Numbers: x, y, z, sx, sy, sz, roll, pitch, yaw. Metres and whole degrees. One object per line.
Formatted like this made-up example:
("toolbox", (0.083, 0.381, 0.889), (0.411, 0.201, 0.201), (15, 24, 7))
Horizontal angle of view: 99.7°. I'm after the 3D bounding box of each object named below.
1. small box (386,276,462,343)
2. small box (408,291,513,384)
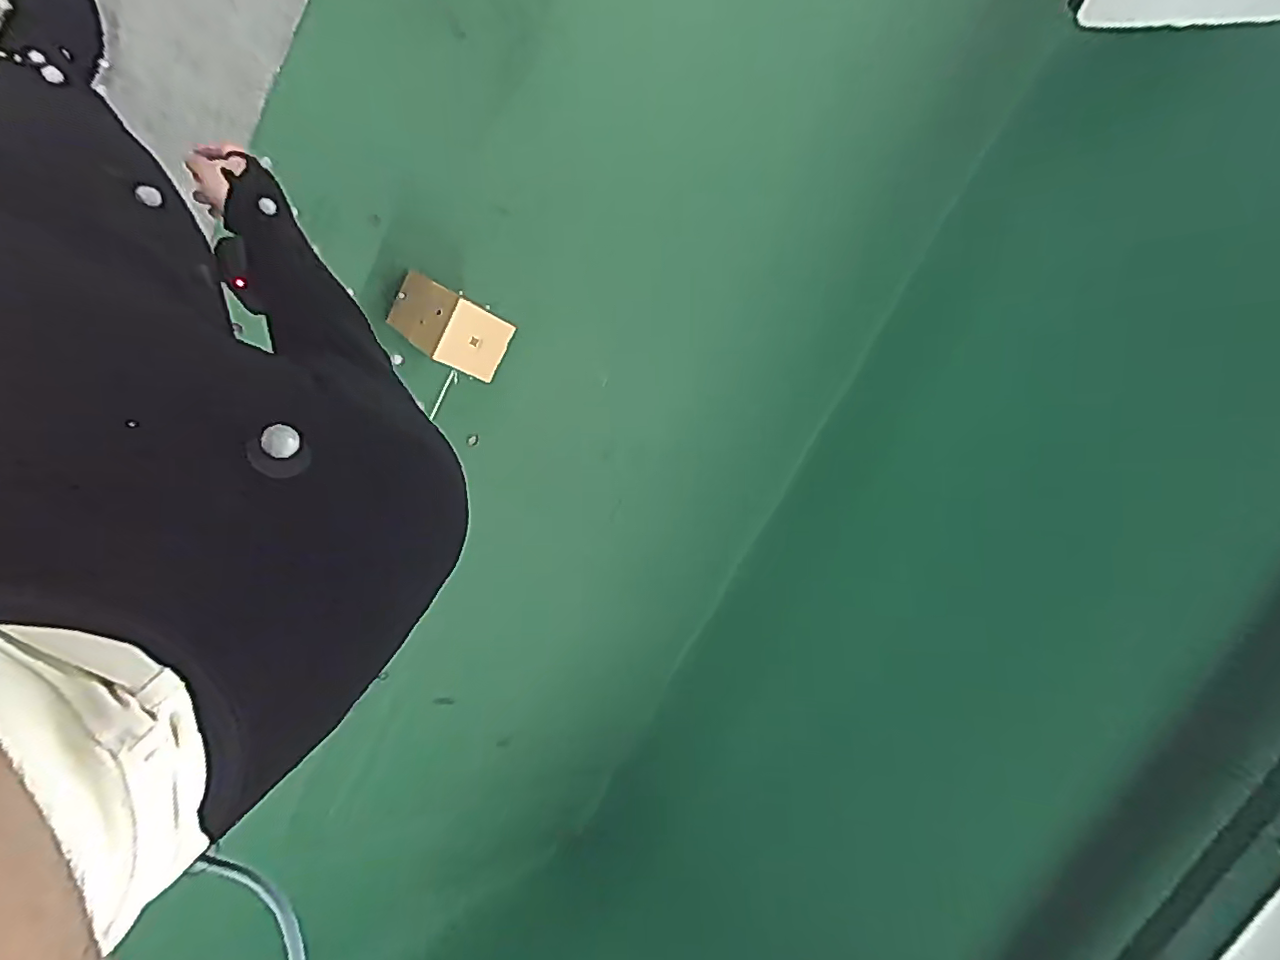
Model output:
("small box", (-0.579, -0.453, 1.522), (0.179, 0.176, 0.168), (19, 102, -49))
("small box", (-0.477, -0.379, 1.423), (0.179, 0.176, 0.168), (18, 102, -51))
